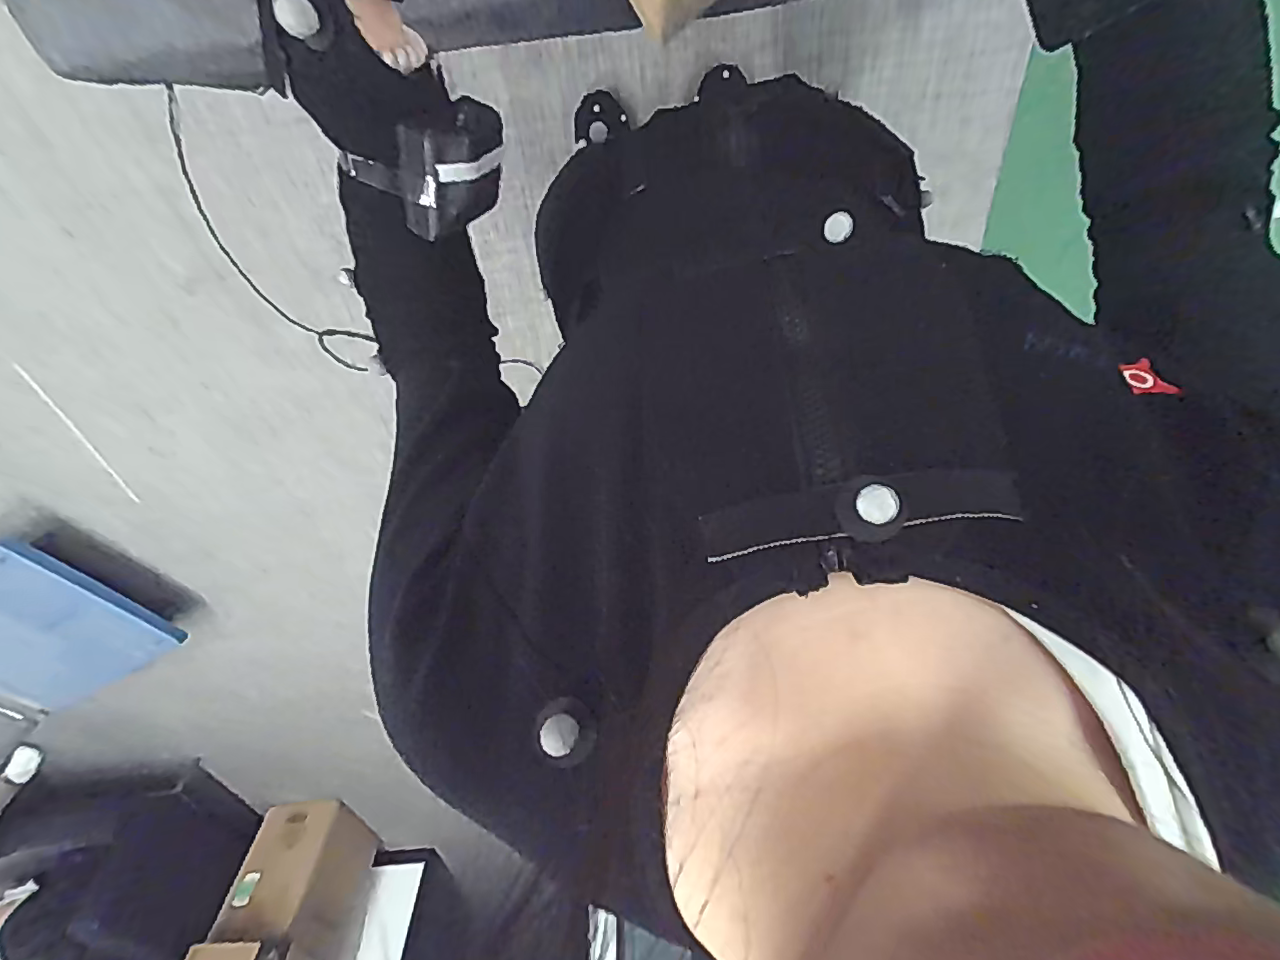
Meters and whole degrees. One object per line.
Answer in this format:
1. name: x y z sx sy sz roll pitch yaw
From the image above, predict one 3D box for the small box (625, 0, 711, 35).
1. small box: 0.028 -0.331 0.204 0.179 0.176 0.168 -34 109 17
